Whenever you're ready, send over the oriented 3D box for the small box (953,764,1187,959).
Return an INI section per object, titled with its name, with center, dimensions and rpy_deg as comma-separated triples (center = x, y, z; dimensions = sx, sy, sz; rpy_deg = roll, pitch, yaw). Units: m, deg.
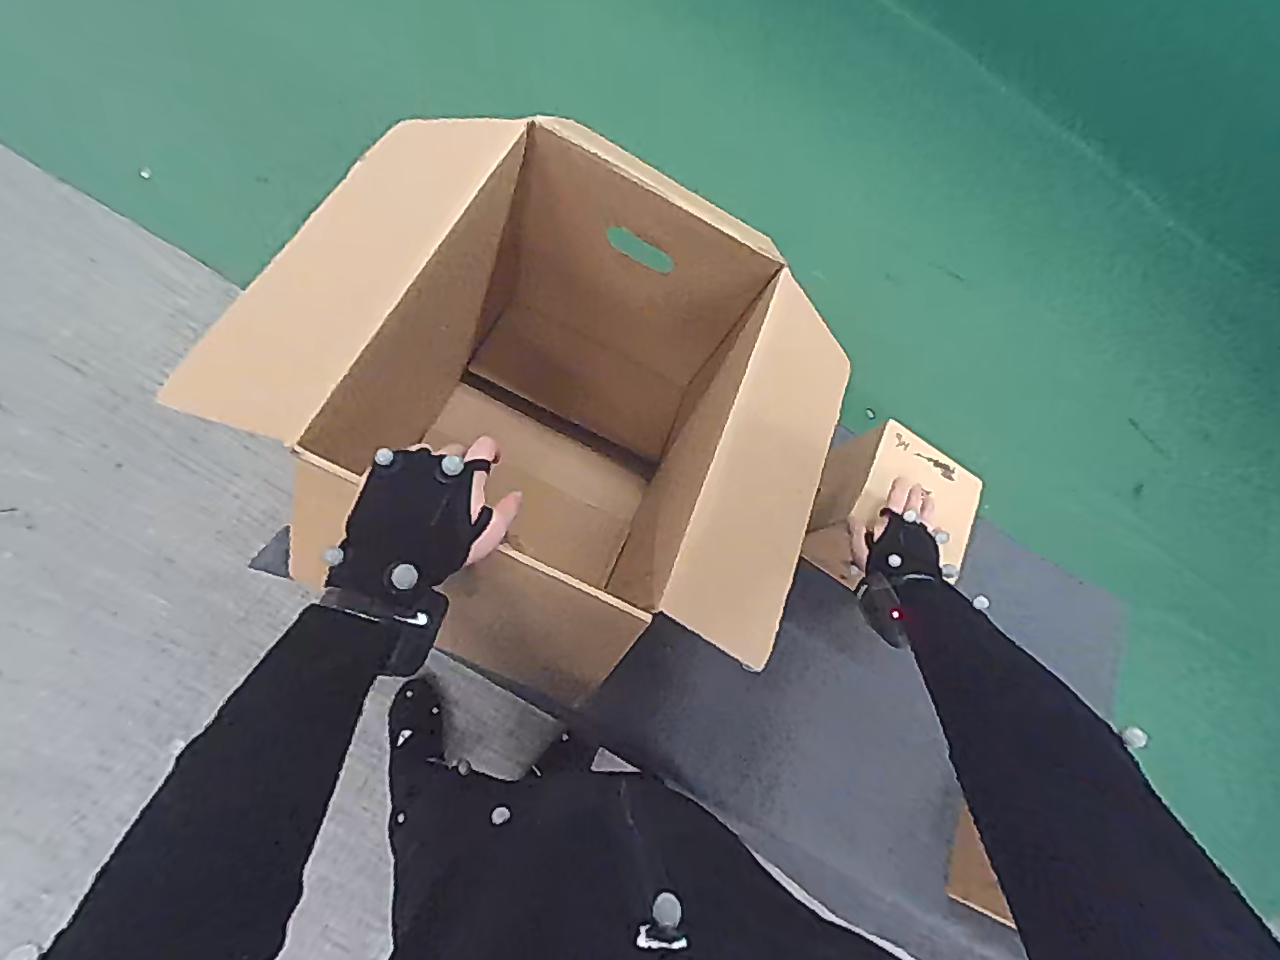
[small box]
center = 0.545, 0.501, 0.702
dimensions = 0.168, 0.176, 0.179
rpy_deg = 29, 66, -5
